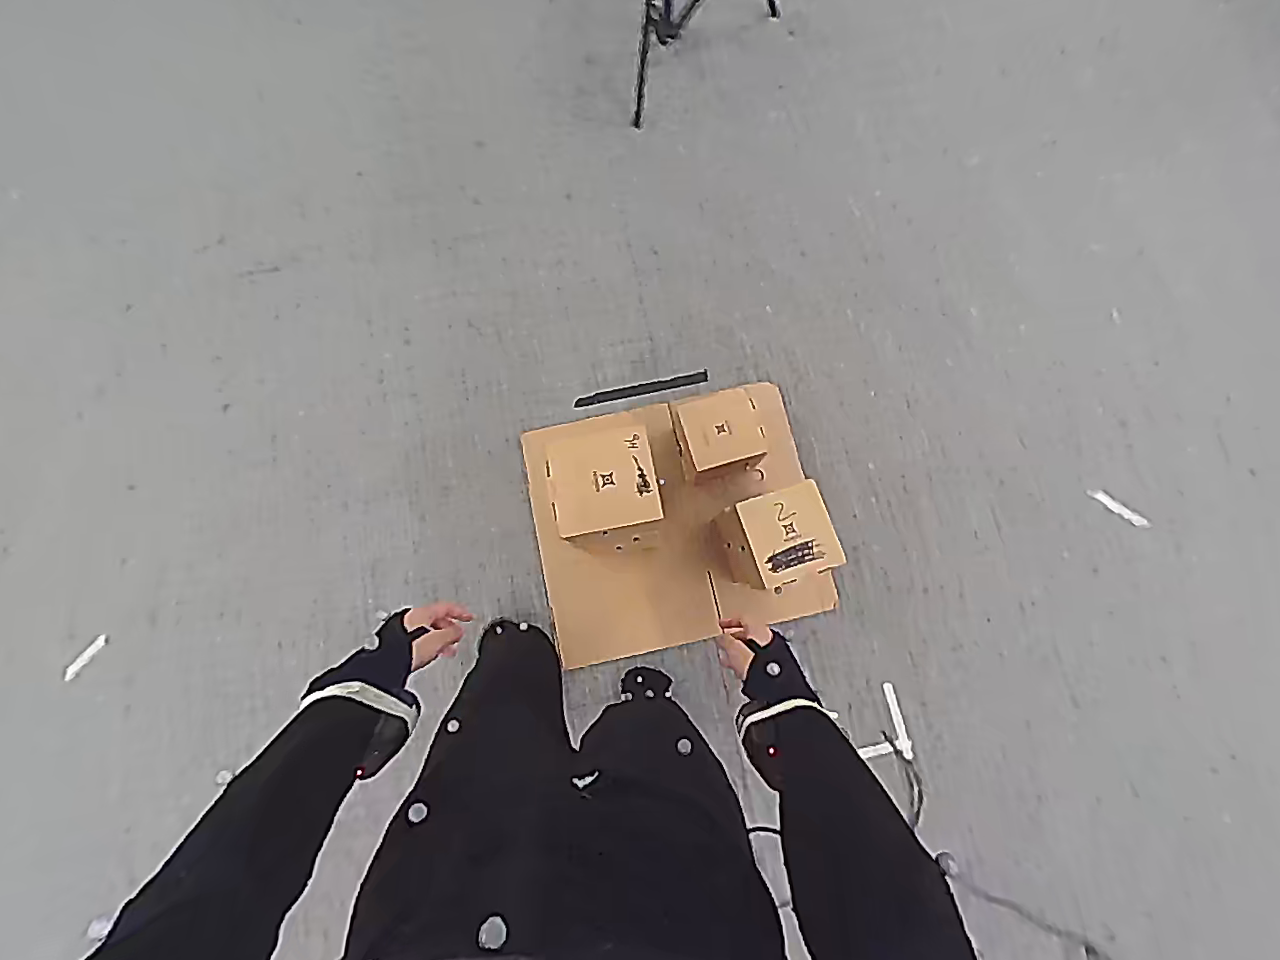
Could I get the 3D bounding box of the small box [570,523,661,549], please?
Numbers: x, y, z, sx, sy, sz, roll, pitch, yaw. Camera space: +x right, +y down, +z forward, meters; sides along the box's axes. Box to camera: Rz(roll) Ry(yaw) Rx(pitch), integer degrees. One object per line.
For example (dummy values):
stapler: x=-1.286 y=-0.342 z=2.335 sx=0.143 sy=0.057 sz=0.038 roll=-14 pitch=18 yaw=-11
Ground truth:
small box: x=-0.056 y=0.048 z=1.123 sx=0.179 sy=0.176 sz=0.168 roll=-8 pitch=79 yaw=0

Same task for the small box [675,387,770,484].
small box: x=0.193 y=-0.102 z=1.317 sx=0.179 sy=0.176 sz=0.168 roll=-18 pitch=77 yaw=-3

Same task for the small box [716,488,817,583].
small box: x=0.289 y=0.135 z=1.270 sx=0.168 sy=0.176 sz=0.179 roll=-17 pitch=79 yaw=-2

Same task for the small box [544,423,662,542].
small box: x=-0.058 y=0.014 z=0.963 sx=0.179 sy=0.176 sz=0.168 roll=-11 pitch=80 yaw=0

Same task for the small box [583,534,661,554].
small box: x=-0.051 y=0.080 z=1.284 sx=0.179 sy=0.176 sz=0.168 roll=-9 pitch=79 yaw=0
